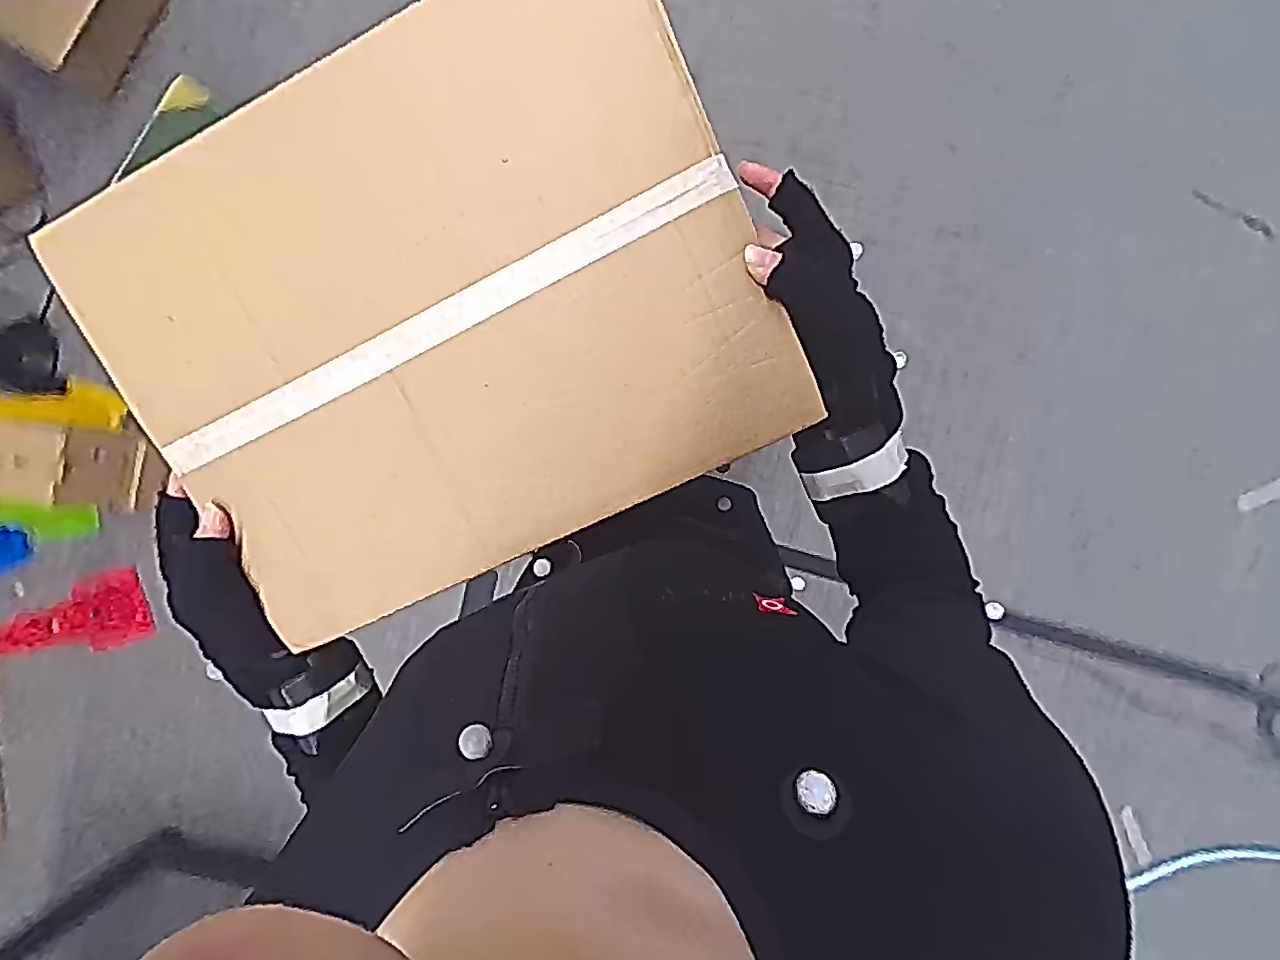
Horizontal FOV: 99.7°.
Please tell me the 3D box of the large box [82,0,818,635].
[{"bbox_3d":[-0.114,-0.129,0.494,0.408,0.320,0.320,-23,99,7],"label":"large box"}]
